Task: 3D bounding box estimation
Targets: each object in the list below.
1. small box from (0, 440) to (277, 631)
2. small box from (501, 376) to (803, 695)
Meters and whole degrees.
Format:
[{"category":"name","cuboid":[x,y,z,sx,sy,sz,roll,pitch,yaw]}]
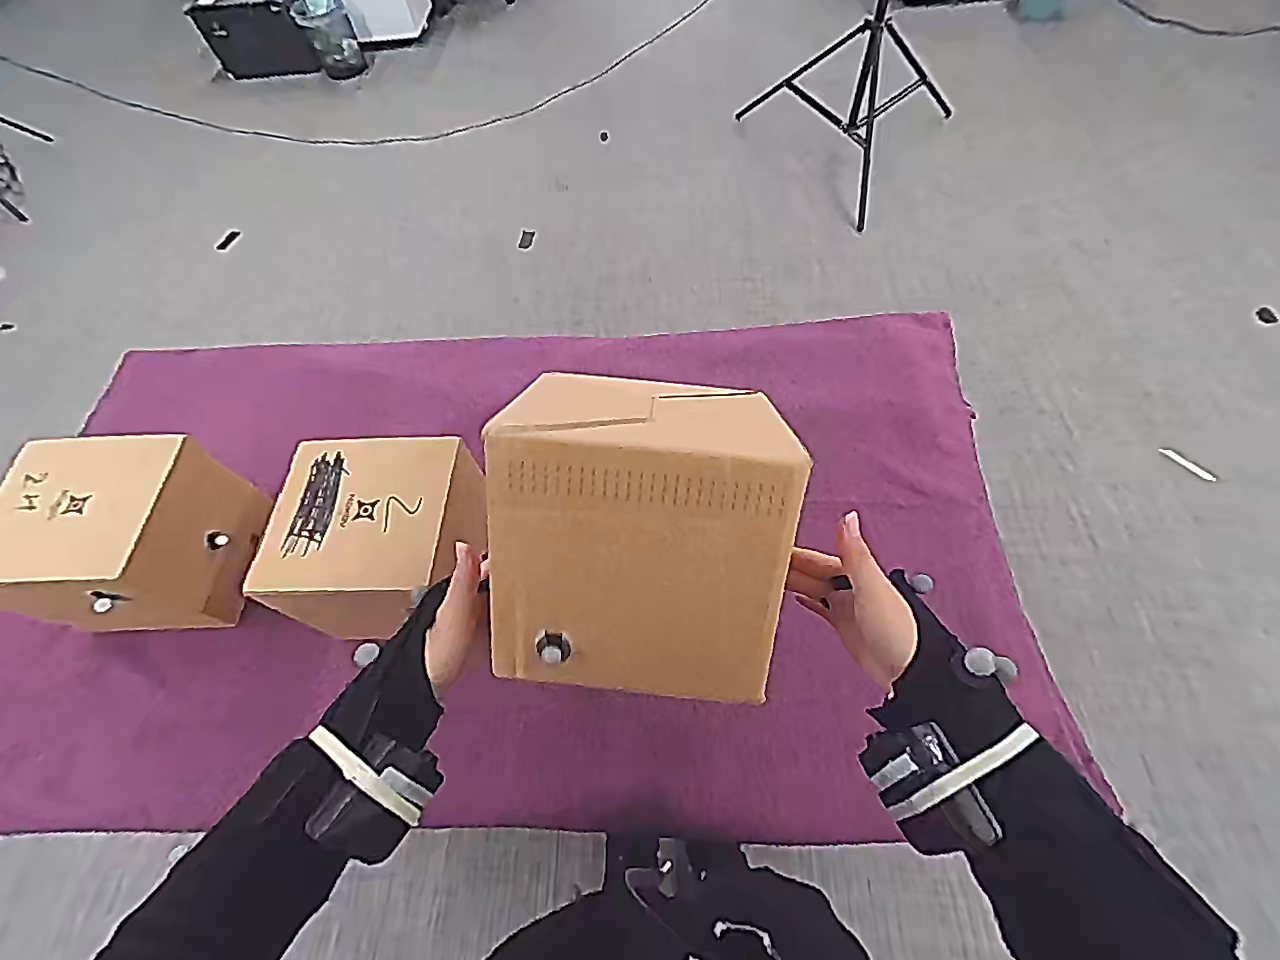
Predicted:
[{"category":"small box","cuboid":[-0.564,0.070,0.618,0.179,0.176,0.168,-2,59,1]},{"category":"small box","cuboid":[0.006,0.025,0.392,0.179,0.176,0.168,6,19,1]}]
